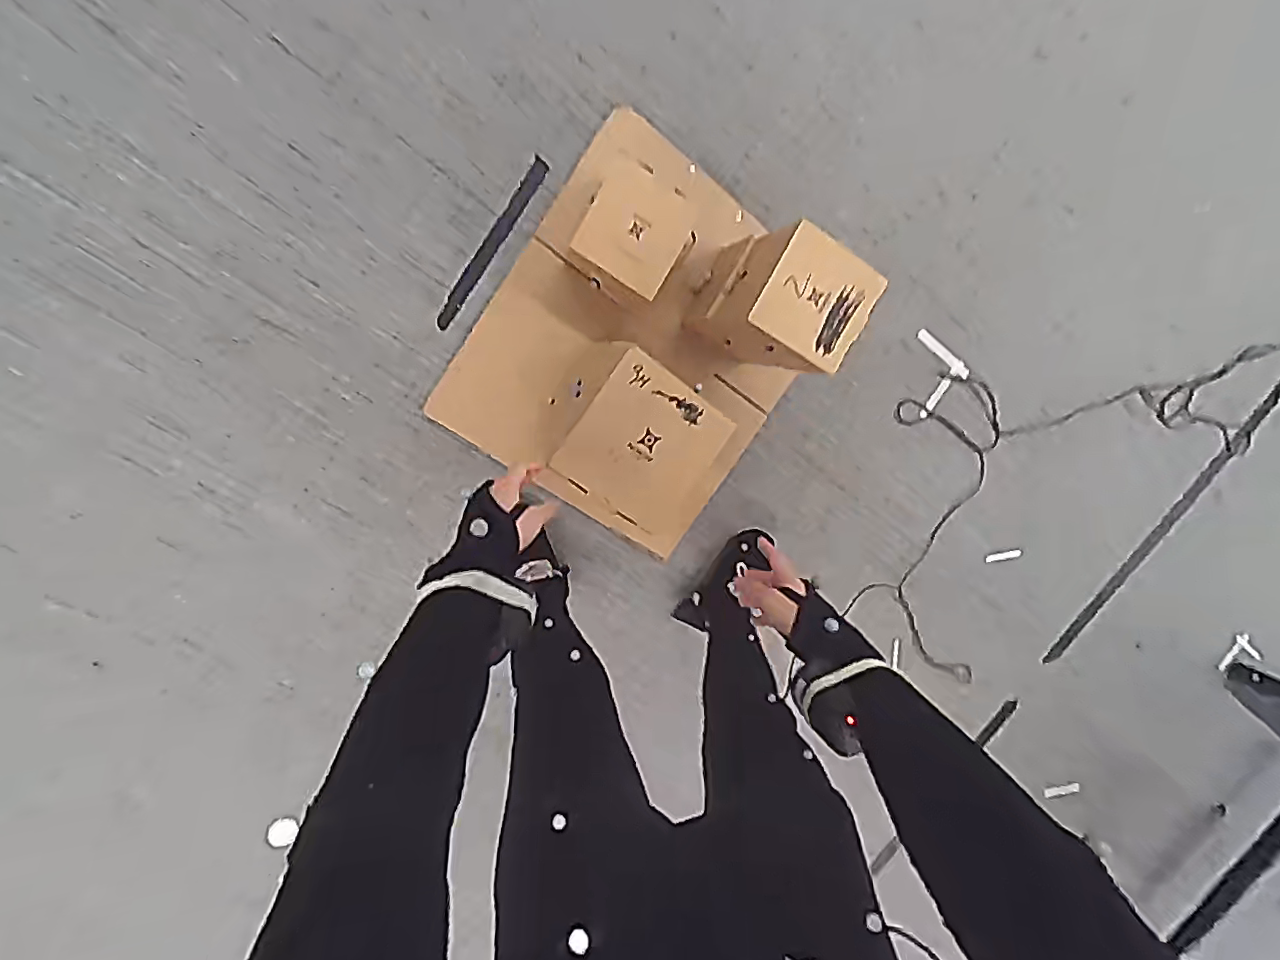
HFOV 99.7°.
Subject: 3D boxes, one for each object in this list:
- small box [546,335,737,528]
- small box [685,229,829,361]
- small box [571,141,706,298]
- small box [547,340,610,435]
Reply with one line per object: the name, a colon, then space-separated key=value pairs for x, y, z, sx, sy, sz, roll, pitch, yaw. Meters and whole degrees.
small box: x=-0.008 y=-0.072 z=0.715 sx=0.168 sy=0.176 sz=0.179 roll=34 pitch=97 yaw=-19
small box: x=0.214 y=-0.347 z=1.036 sx=0.179 sy=0.176 sz=0.168 roll=29 pitch=97 yaw=-17
small box: x=-0.014 y=-0.446 z=0.961 sx=0.168 sy=0.176 sz=0.179 roll=28 pitch=97 yaw=-15
small box: x=-0.039 y=-0.110 z=0.871 sx=0.168 sy=0.176 sz=0.179 roll=38 pitch=96 yaw=-18
